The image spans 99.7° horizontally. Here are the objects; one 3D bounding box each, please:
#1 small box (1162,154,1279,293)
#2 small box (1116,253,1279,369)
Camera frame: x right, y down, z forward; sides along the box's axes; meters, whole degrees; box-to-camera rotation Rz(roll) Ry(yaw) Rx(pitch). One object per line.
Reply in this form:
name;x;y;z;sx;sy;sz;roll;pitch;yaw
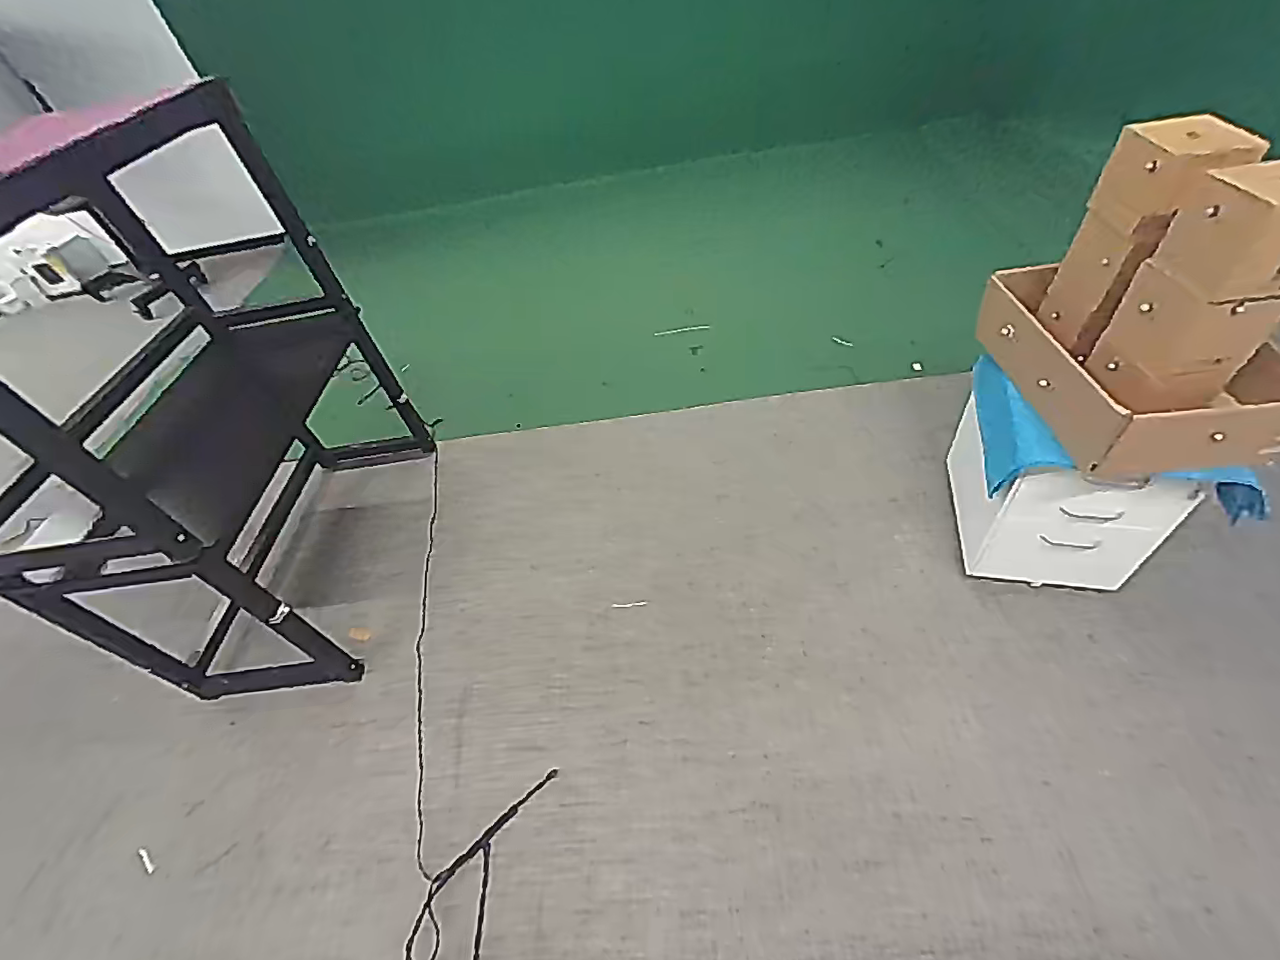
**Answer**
small box;1.093;-0.451;0.950;0.168;0.176;0.179;-5;47;7
small box;1.112;-0.343;1.074;0.168;0.176;0.179;-7;45;6
